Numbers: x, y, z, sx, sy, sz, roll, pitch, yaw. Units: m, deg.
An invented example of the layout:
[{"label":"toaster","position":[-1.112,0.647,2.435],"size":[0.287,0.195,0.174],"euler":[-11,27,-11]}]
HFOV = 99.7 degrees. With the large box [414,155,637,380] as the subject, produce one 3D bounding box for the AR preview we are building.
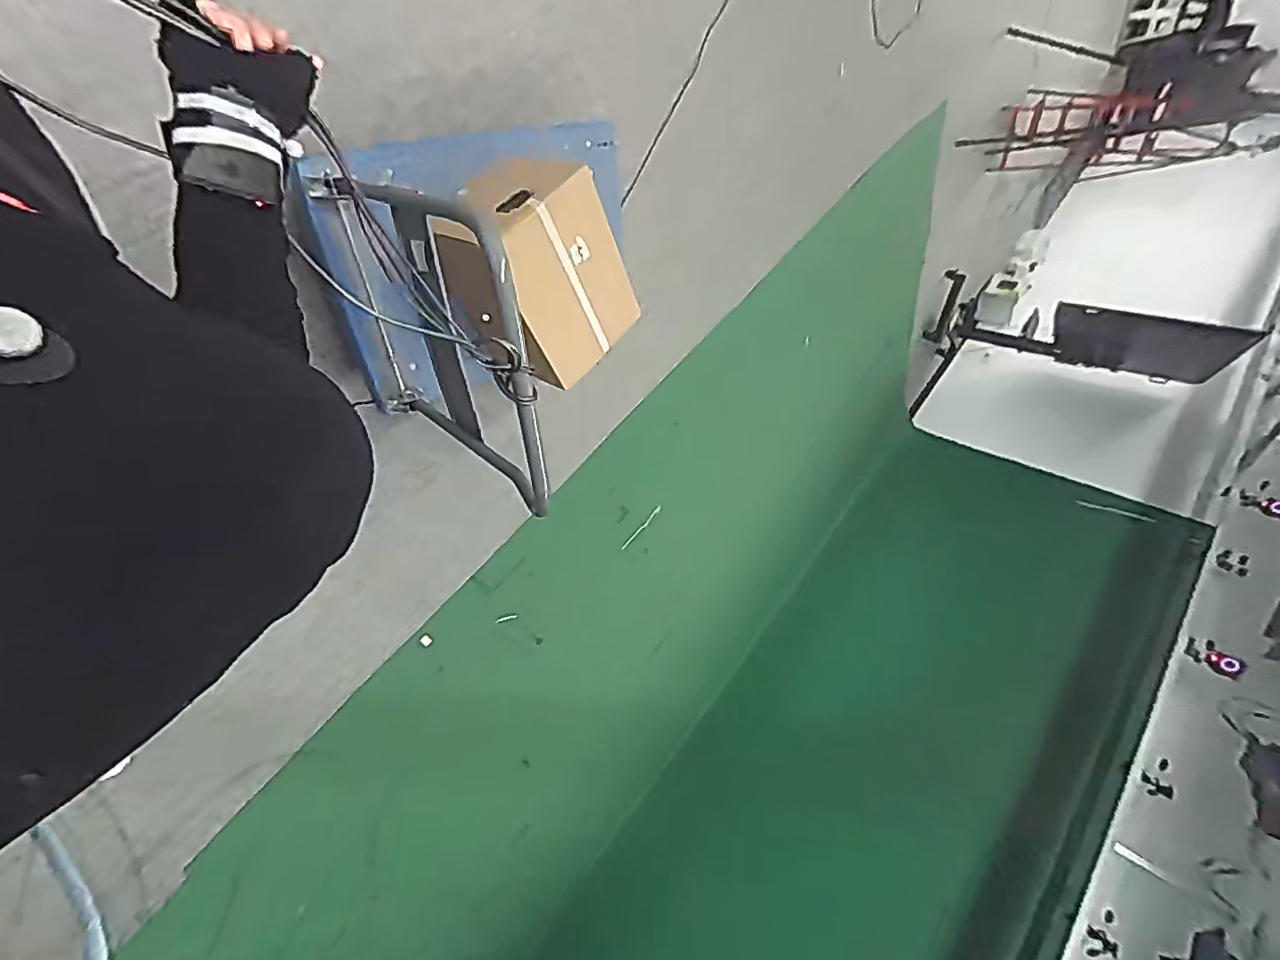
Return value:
[{"label":"large box","position":[-0.268,-0.527,1.356],"size":[0.320,0.320,0.408],"euler":[-49,143,-17]}]
